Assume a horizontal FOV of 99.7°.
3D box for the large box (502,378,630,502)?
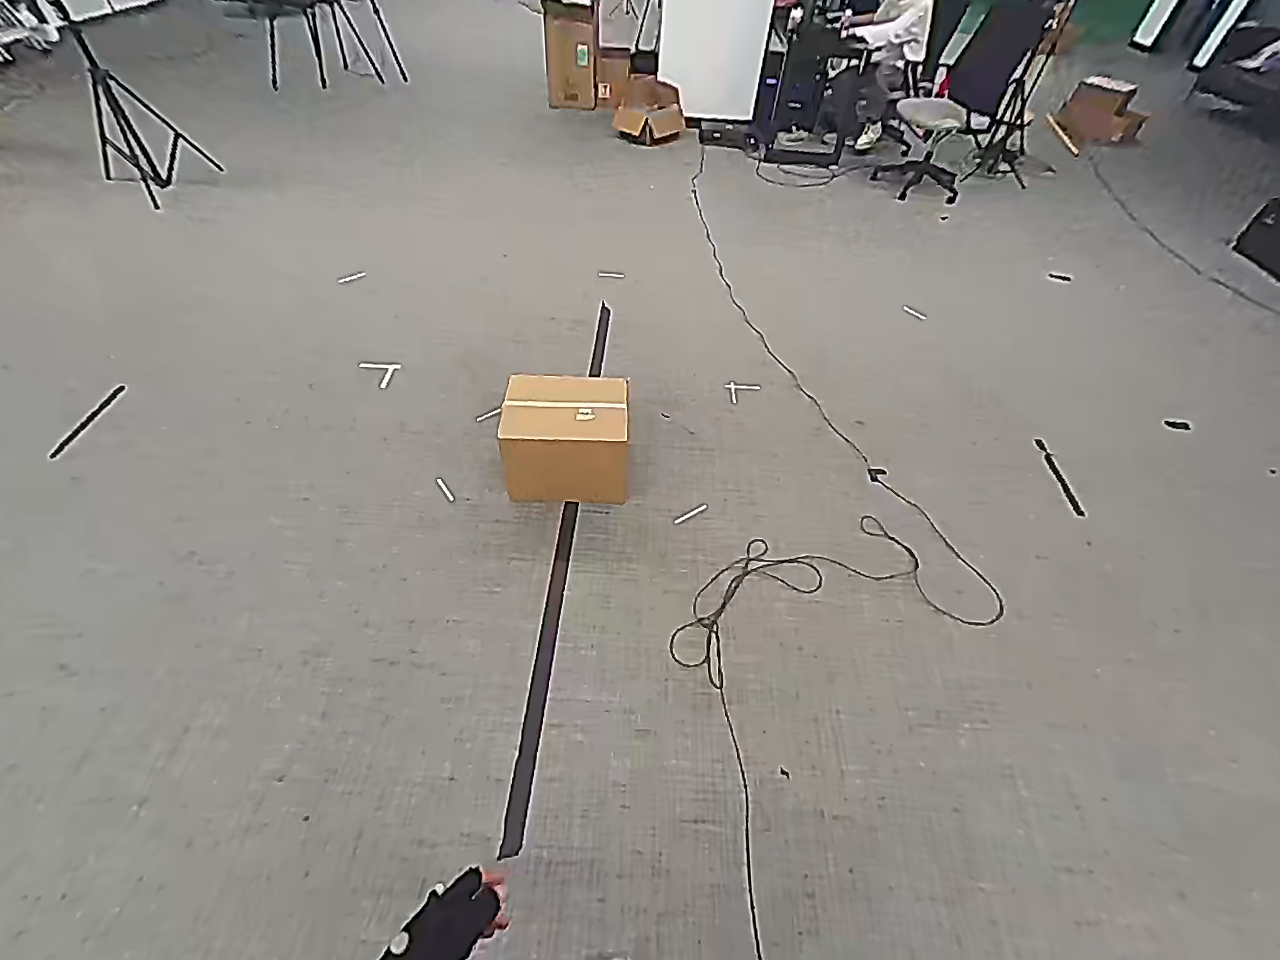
[{"bbox_3d":[-0.246,-0.135,1.887,0.408,0.320,0.320,2,49,-3],"label":"large box"}]
